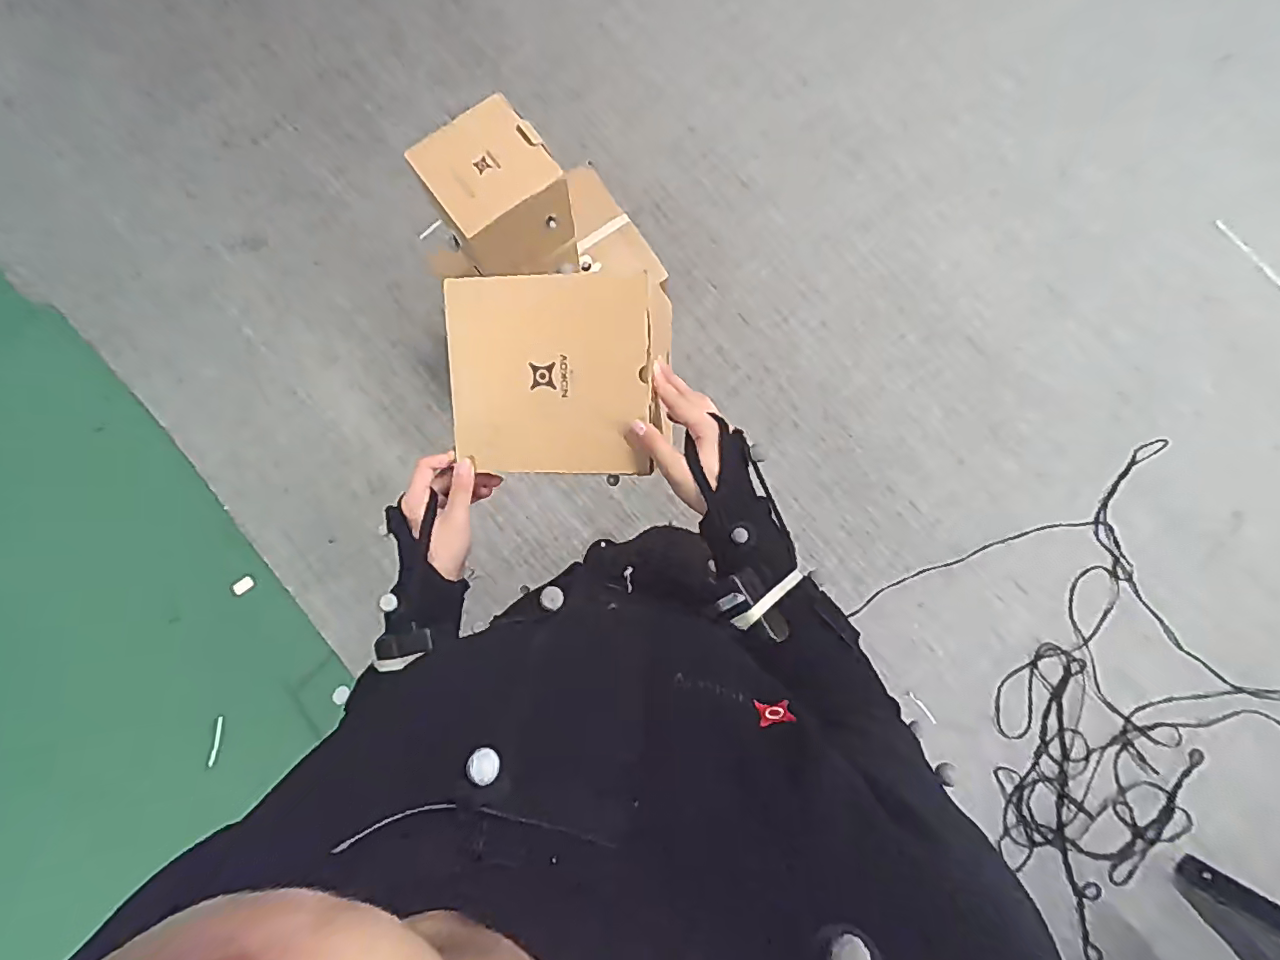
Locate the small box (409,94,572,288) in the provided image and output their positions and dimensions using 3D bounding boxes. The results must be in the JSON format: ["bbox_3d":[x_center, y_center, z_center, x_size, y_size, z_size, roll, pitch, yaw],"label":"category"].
[{"bbox_3d":[-0.222,-0.447,0.862,0.179,0.176,0.168,-37,85,-4],"label":"small box"}]

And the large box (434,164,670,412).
[{"bbox_3d":[-0.188,-0.421,1.270,0.408,0.320,0.320,-34,87,-5],"label":"large box"}]
